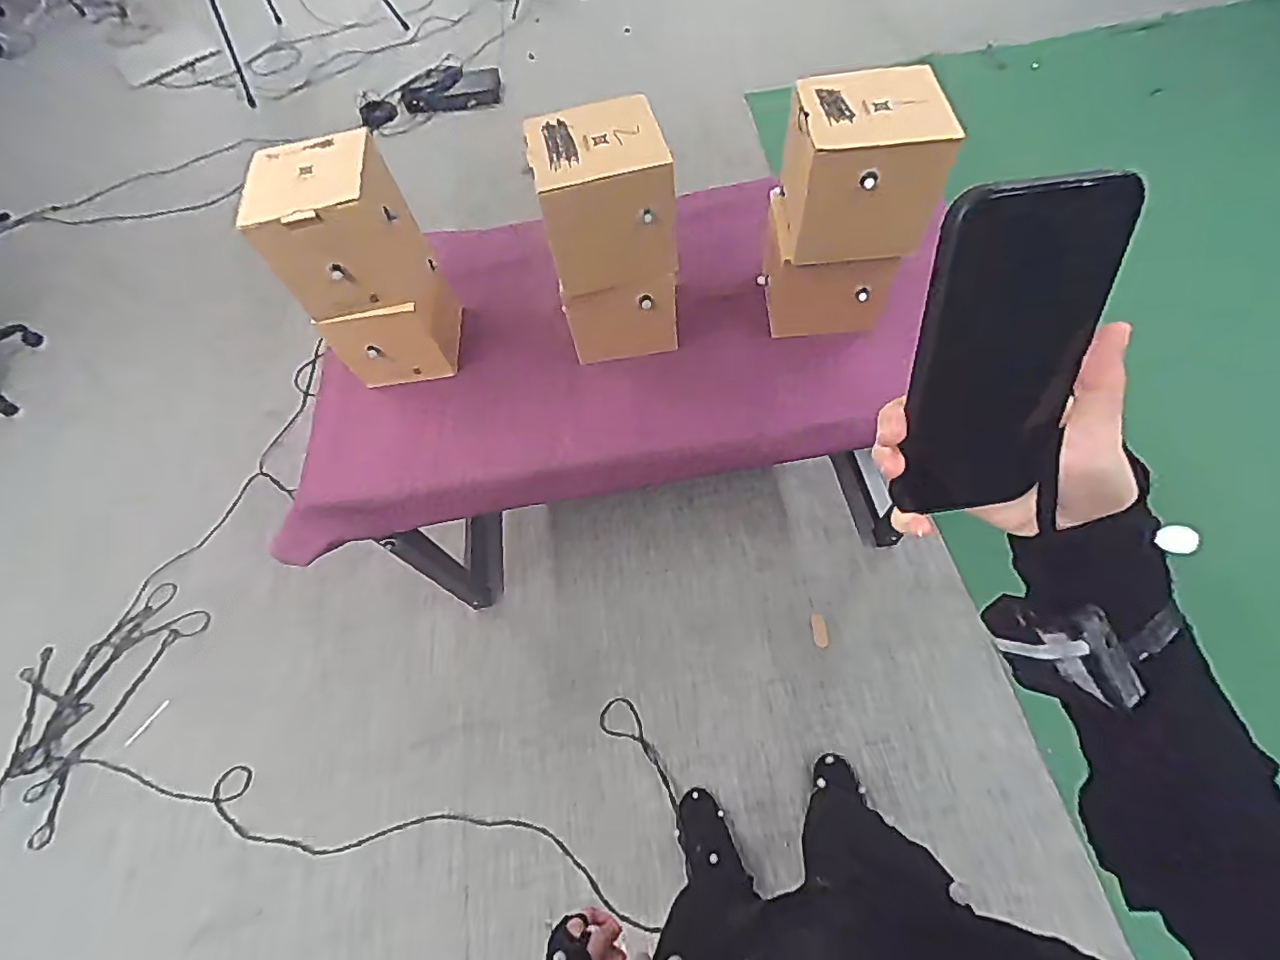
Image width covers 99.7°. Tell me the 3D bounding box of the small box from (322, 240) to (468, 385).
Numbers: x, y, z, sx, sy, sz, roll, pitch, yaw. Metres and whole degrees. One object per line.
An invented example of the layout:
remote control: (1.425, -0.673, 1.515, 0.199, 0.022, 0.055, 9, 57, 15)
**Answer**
small box: (-0.415, -0.282, 0.947, 0.168, 0.176, 0.179, -8, 61, 3)

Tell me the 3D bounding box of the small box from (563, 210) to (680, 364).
small box: (-0.026, -0.320, 0.917, 0.179, 0.176, 0.168, -8, 61, 3)

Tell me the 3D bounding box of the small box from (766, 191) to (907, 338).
small box: (0.312, -0.356, 0.896, 0.179, 0.176, 0.168, -3, 61, 7)

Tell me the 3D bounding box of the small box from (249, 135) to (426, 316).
small box: (-0.434, -0.367, 0.807, 0.168, 0.176, 0.179, -12, 62, 0)

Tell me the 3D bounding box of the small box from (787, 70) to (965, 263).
small box: (0.304, -0.421, 0.745, 0.179, 0.176, 0.168, -3, 61, 5)
